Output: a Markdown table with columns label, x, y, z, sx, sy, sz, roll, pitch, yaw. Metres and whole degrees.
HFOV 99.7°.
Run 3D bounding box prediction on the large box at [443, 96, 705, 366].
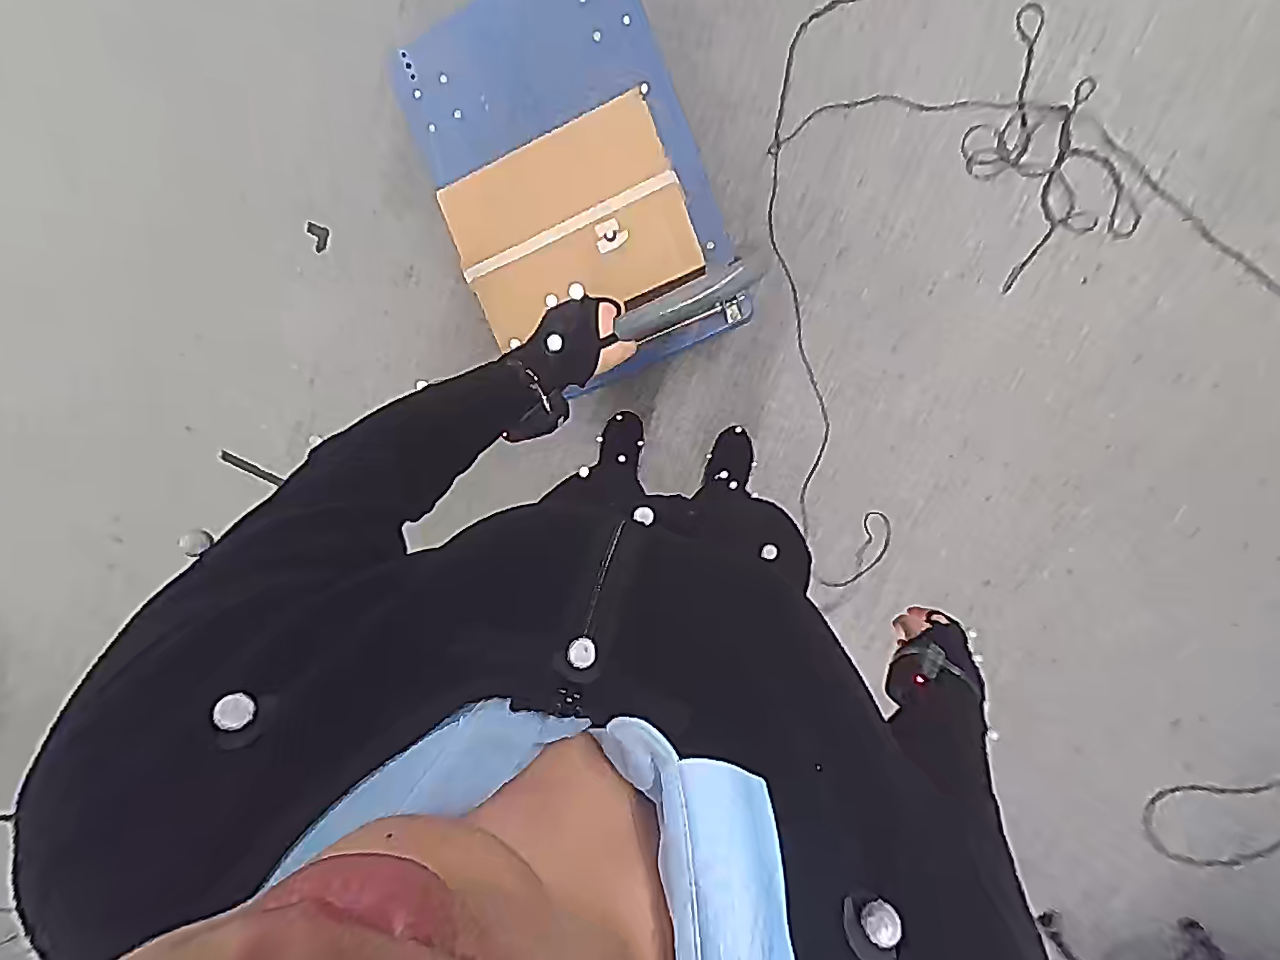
| label | x | y | z | sx | sy | sz | roll | pitch | yaw |
| --- | --- | --- | --- | --- | --- | --- | --- | --- | --- |
| large box | -0.107 | -0.459 | 1.104 | 0.408 | 0.320 | 0.320 | -21 | 97 | 9 |
